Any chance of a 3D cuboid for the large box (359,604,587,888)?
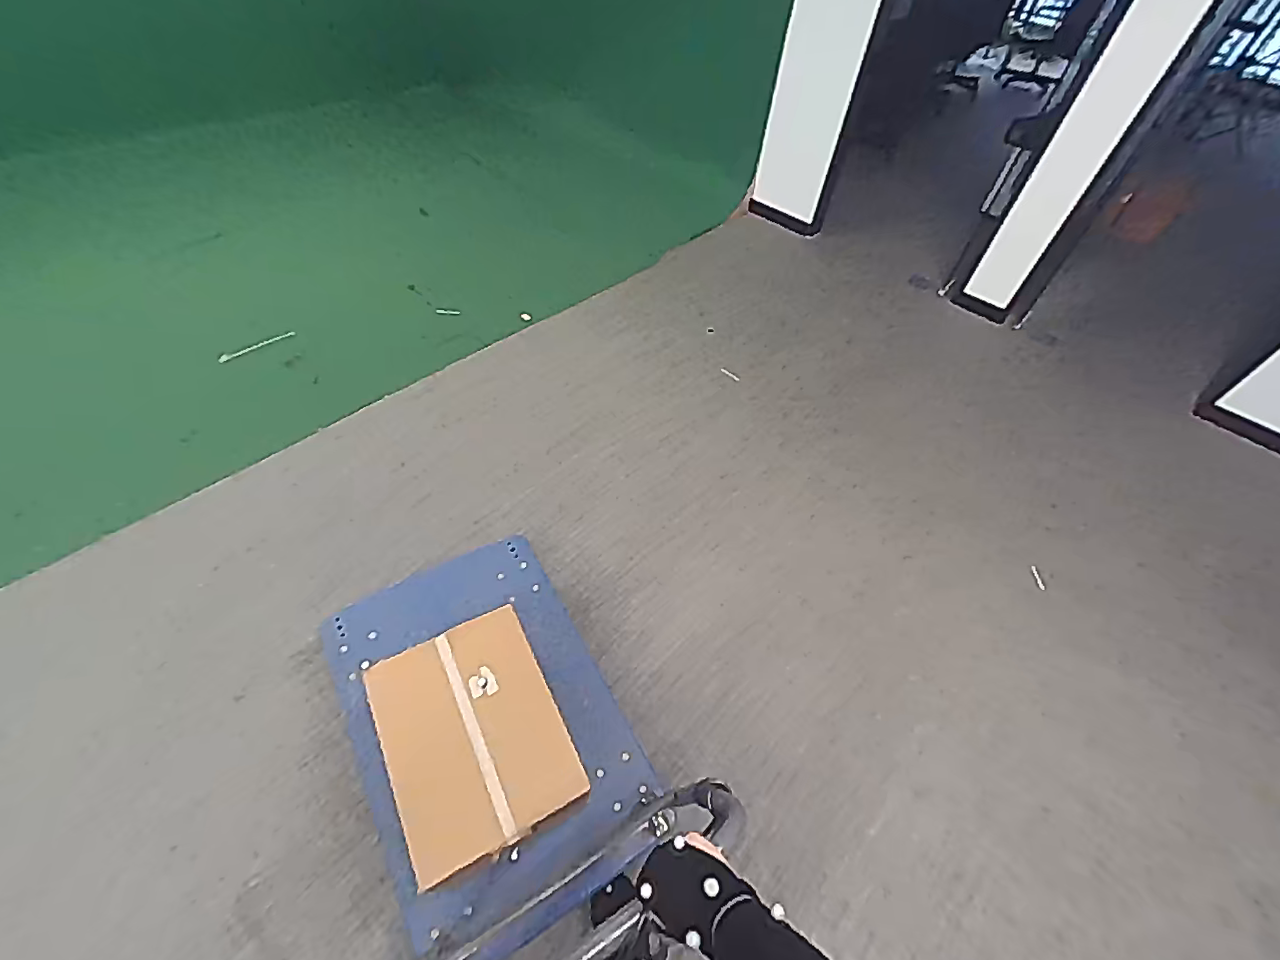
[{"bbox_3d":[-0.333,0.549,1.135,0.320,0.320,0.408,-22,59,-21],"label":"large box"}]
